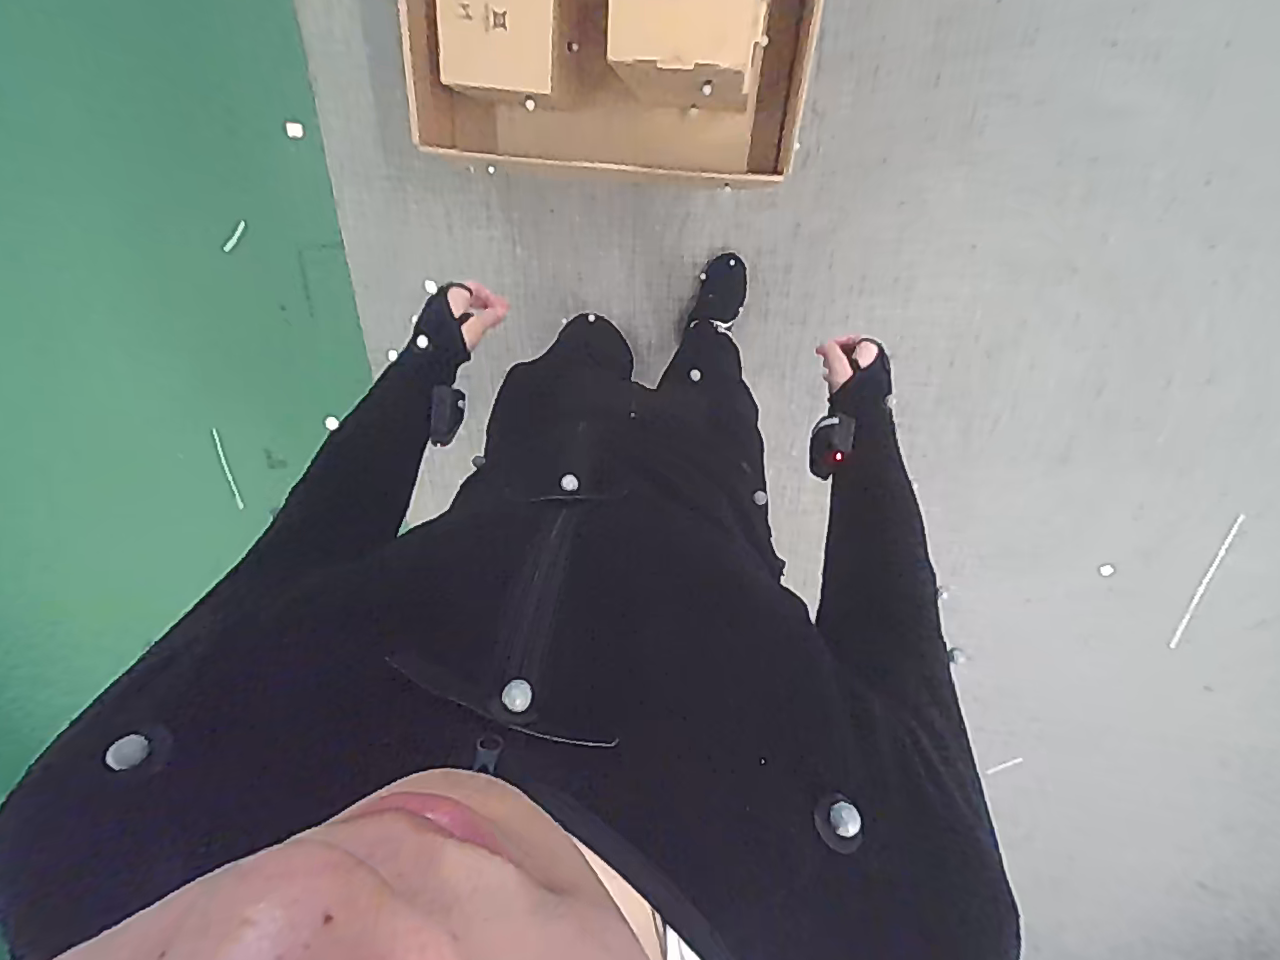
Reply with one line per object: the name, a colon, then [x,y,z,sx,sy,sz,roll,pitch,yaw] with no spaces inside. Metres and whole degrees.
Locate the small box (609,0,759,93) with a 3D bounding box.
small box: [0.063,-0.595,0.660,0.168,0.176,0.179,8,117,5]
